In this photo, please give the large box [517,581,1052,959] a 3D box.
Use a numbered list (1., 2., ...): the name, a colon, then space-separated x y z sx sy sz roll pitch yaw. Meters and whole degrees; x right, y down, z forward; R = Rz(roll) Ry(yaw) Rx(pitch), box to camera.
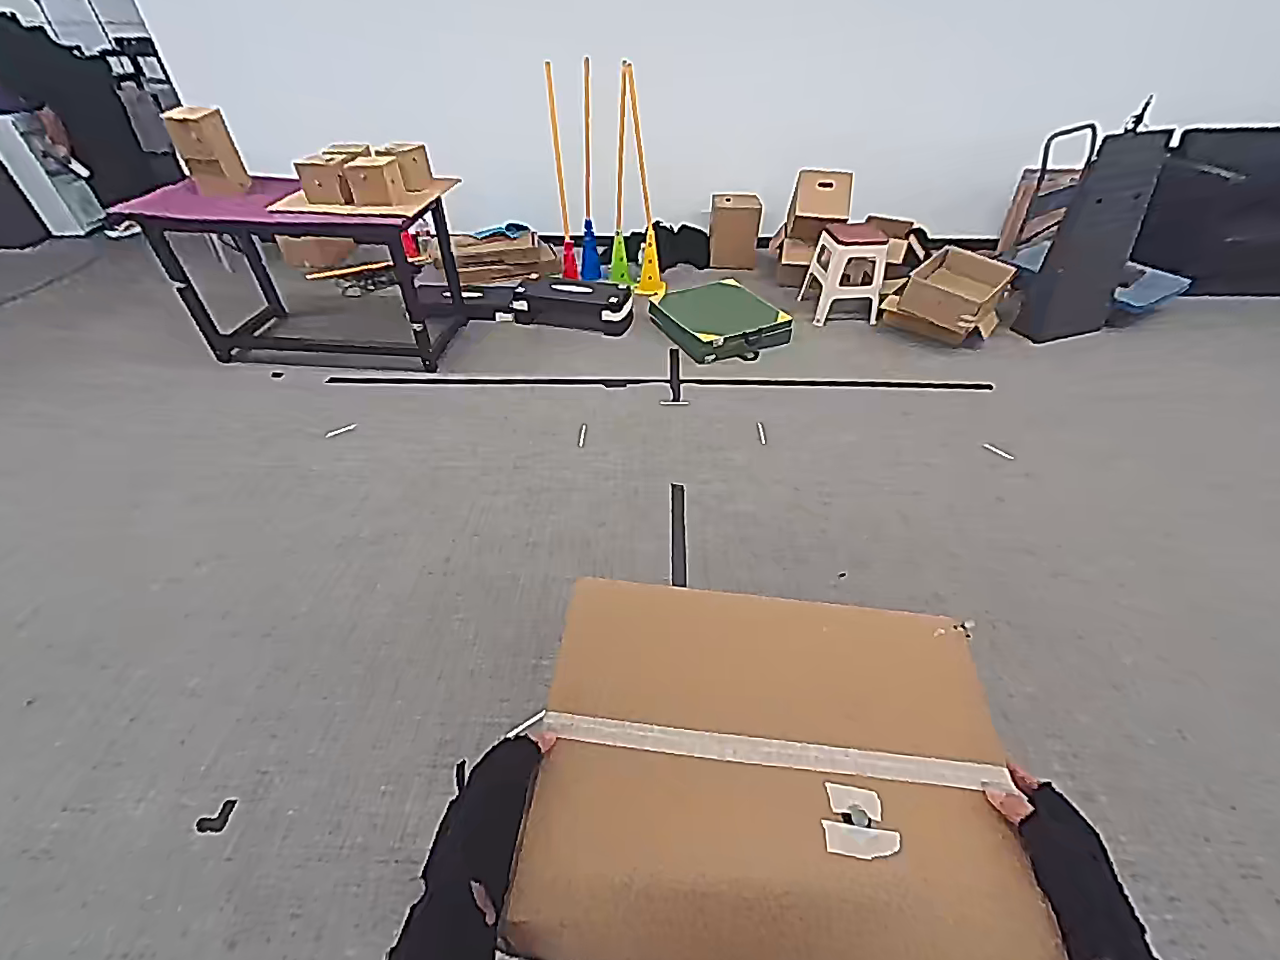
1. large box: 0.114 0.341 0.601 0.408 0.320 0.320 6 48 4
